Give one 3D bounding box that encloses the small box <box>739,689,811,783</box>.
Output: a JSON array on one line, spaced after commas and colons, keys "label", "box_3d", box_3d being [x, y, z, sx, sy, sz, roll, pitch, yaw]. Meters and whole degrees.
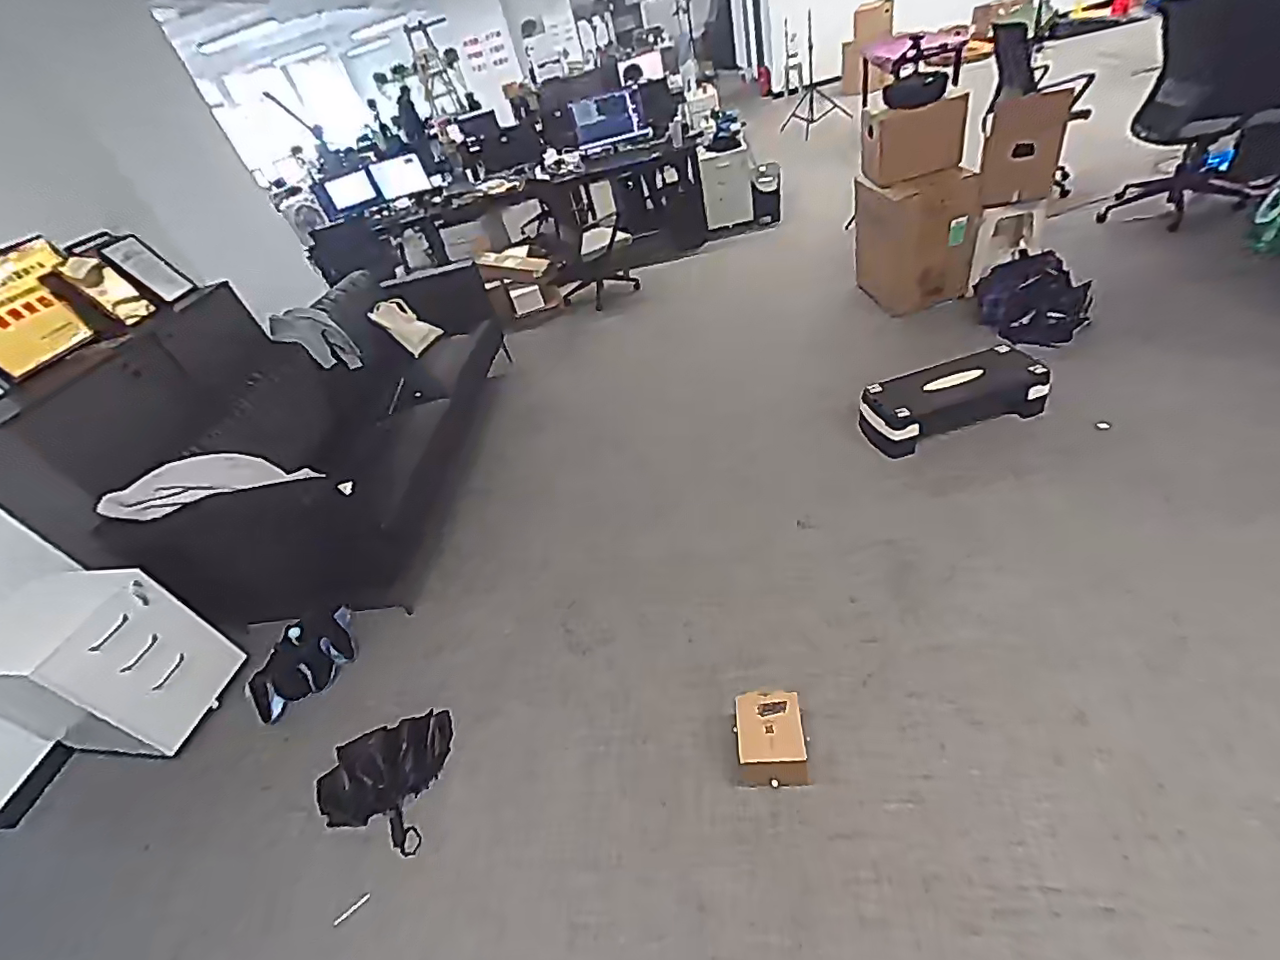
[{"label": "small box", "box_3d": [0.358, 0.682, 1.438, 0.168, 0.176, 0.179, -8, 41, 13]}]
